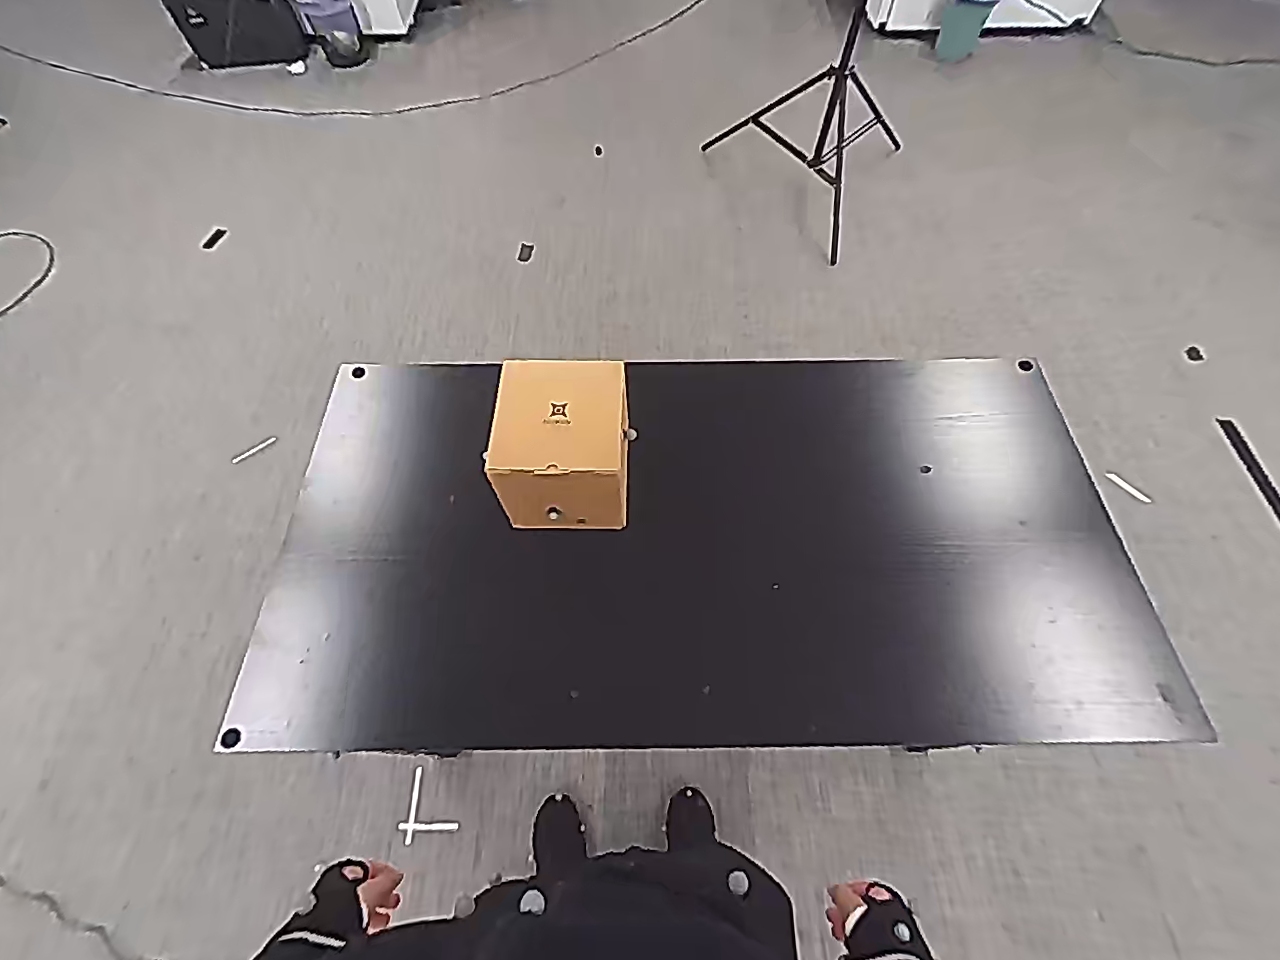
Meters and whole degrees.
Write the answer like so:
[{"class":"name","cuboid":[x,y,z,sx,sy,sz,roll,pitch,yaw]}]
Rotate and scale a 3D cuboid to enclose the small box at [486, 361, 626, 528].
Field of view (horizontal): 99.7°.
[{"class":"small box","cuboid":[-0.106,-0.046,0.767,0.168,0.176,0.179,0,61,1]}]
